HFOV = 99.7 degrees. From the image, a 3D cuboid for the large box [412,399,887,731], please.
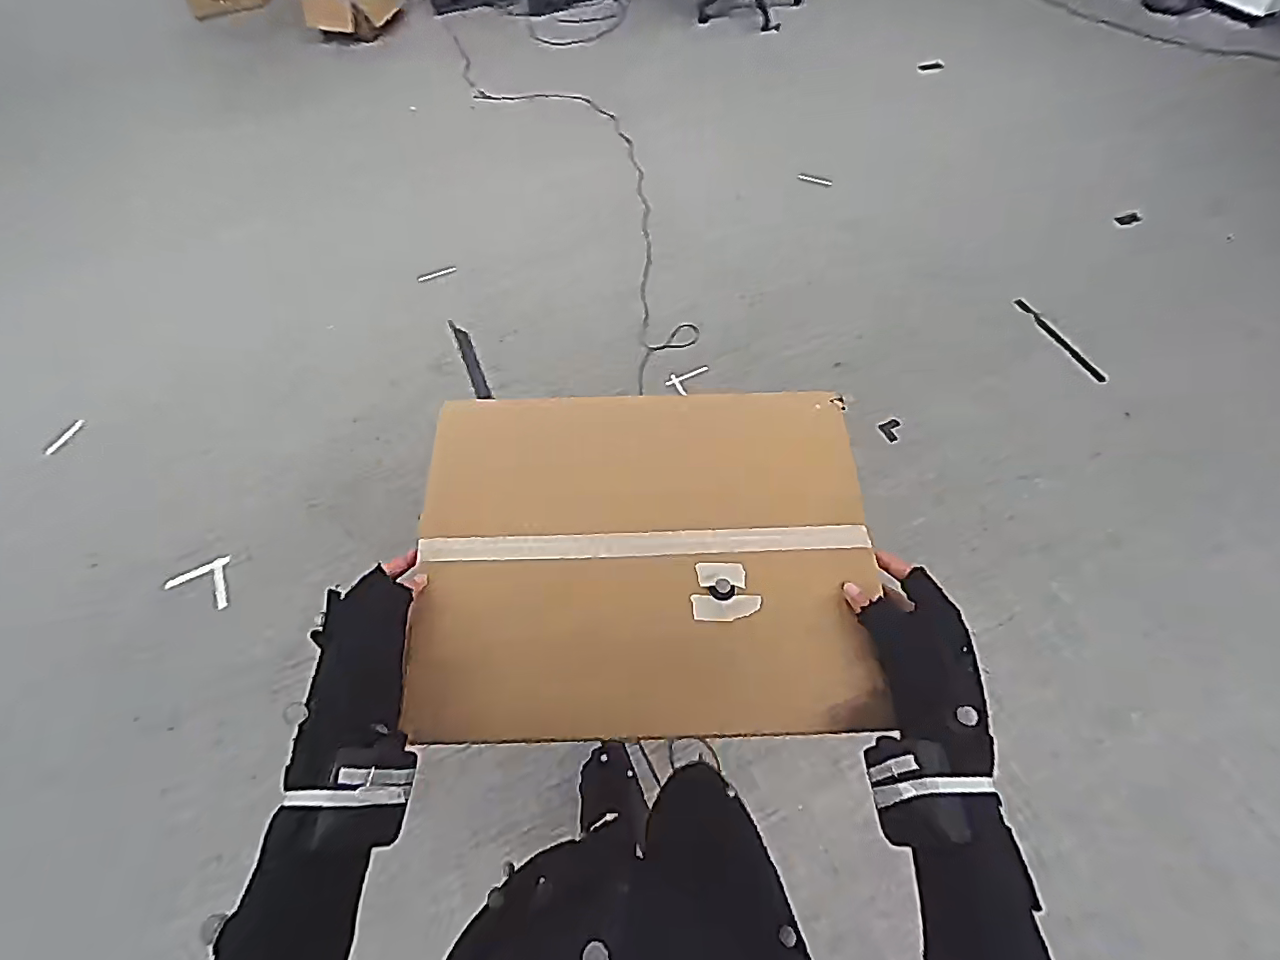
[{"bbox_3d":[0.005,0.119,0.641,0.408,0.320,0.320,-1,67,0],"label":"large box"}]
